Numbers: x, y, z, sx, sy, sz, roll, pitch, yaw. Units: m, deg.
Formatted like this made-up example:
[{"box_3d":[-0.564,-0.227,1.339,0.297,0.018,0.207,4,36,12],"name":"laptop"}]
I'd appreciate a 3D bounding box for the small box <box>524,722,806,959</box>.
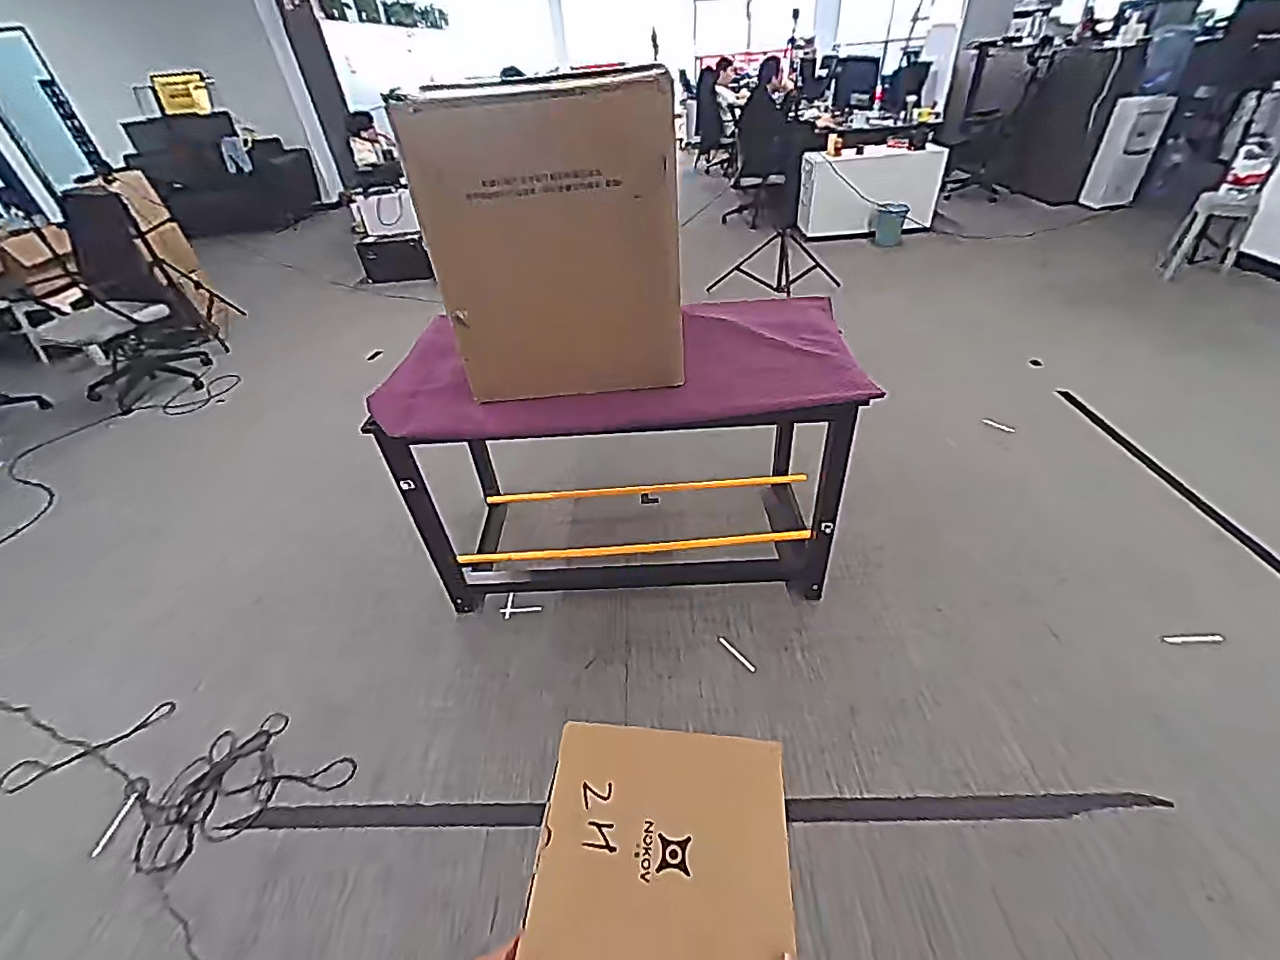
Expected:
[{"box_3d":[0.024,0.316,0.428,0.179,0.176,0.168,2,42,6],"name":"small box"}]
